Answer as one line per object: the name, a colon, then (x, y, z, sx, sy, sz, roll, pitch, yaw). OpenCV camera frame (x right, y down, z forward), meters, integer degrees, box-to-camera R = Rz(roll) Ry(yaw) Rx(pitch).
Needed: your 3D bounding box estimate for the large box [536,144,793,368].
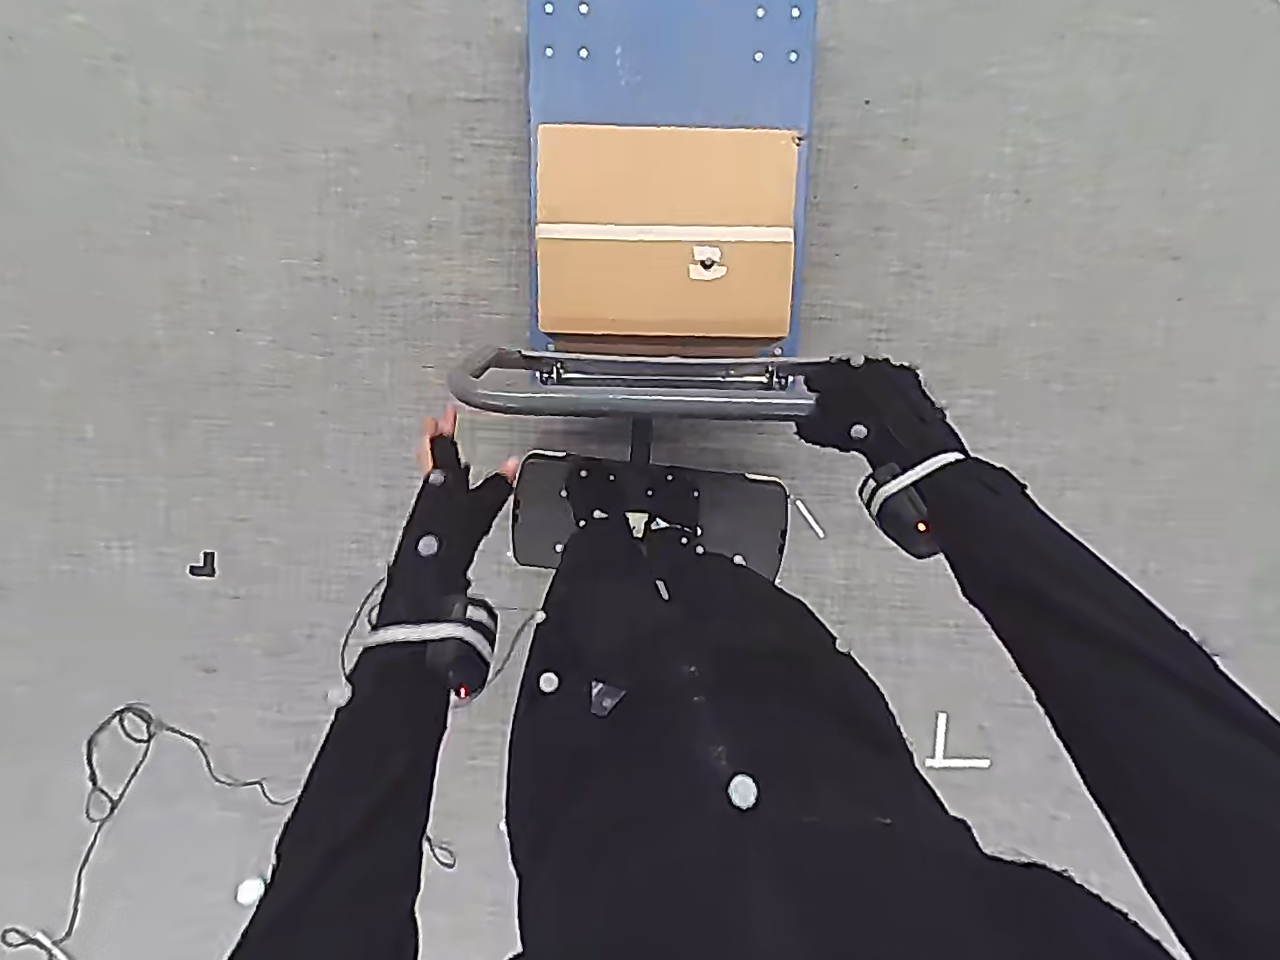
large box: (0.034, -0.379, 0.995, 0.408, 0.320, 0.320, 1, 97, -1)
